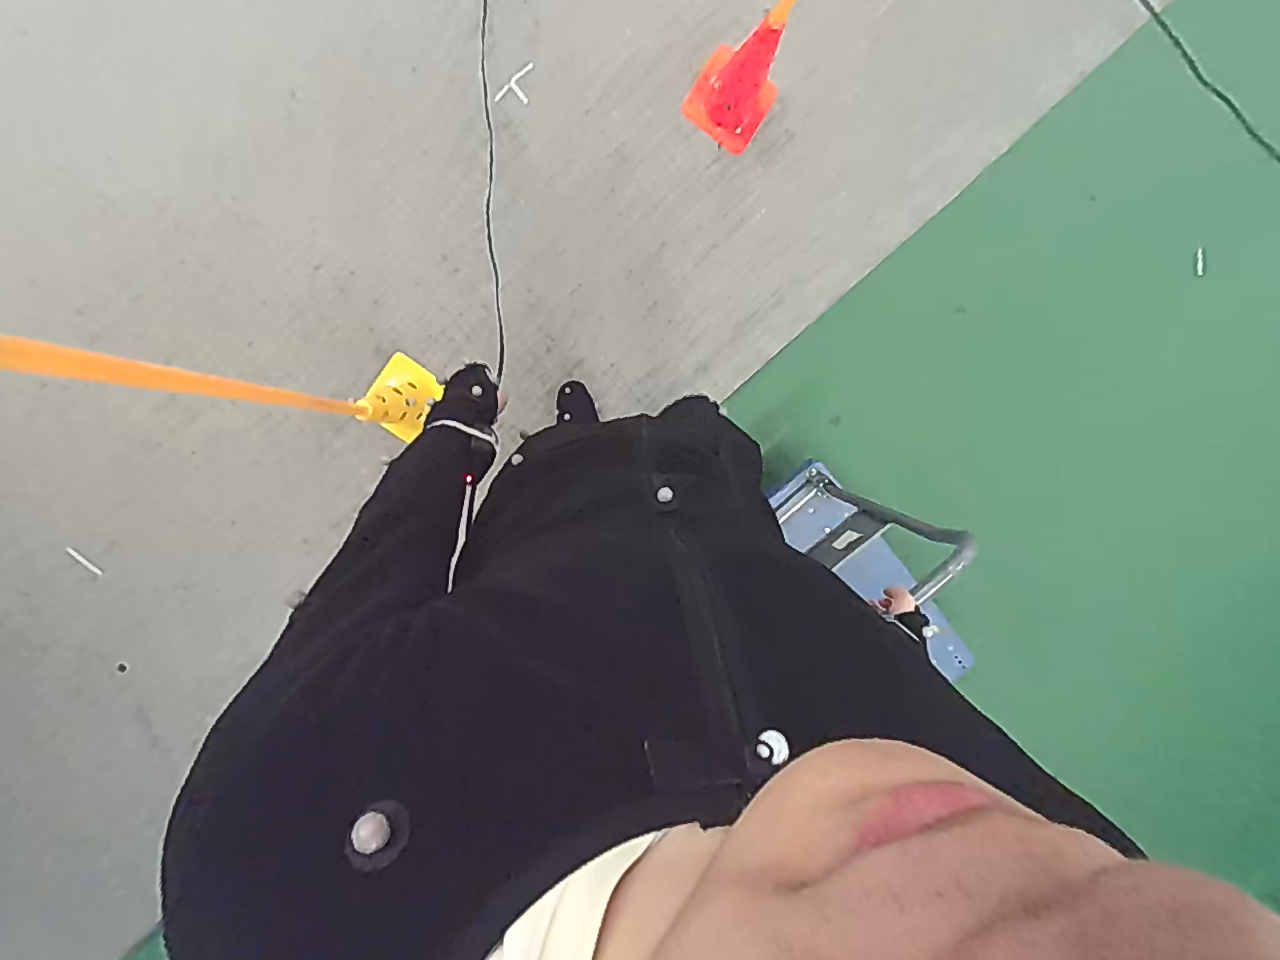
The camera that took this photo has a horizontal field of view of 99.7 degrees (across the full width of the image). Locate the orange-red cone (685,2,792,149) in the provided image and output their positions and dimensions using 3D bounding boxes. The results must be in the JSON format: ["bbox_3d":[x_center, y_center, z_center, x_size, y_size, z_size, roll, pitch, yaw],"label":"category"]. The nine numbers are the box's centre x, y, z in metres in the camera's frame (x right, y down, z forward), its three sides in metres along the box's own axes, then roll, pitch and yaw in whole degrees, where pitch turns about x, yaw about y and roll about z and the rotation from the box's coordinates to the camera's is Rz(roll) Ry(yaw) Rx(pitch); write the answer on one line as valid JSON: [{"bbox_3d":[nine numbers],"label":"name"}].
[{"bbox_3d":[0.265,-0.978,1.257,0.198,0.360,0.199,32,95,-13],"label":"orange-red cone"}]
